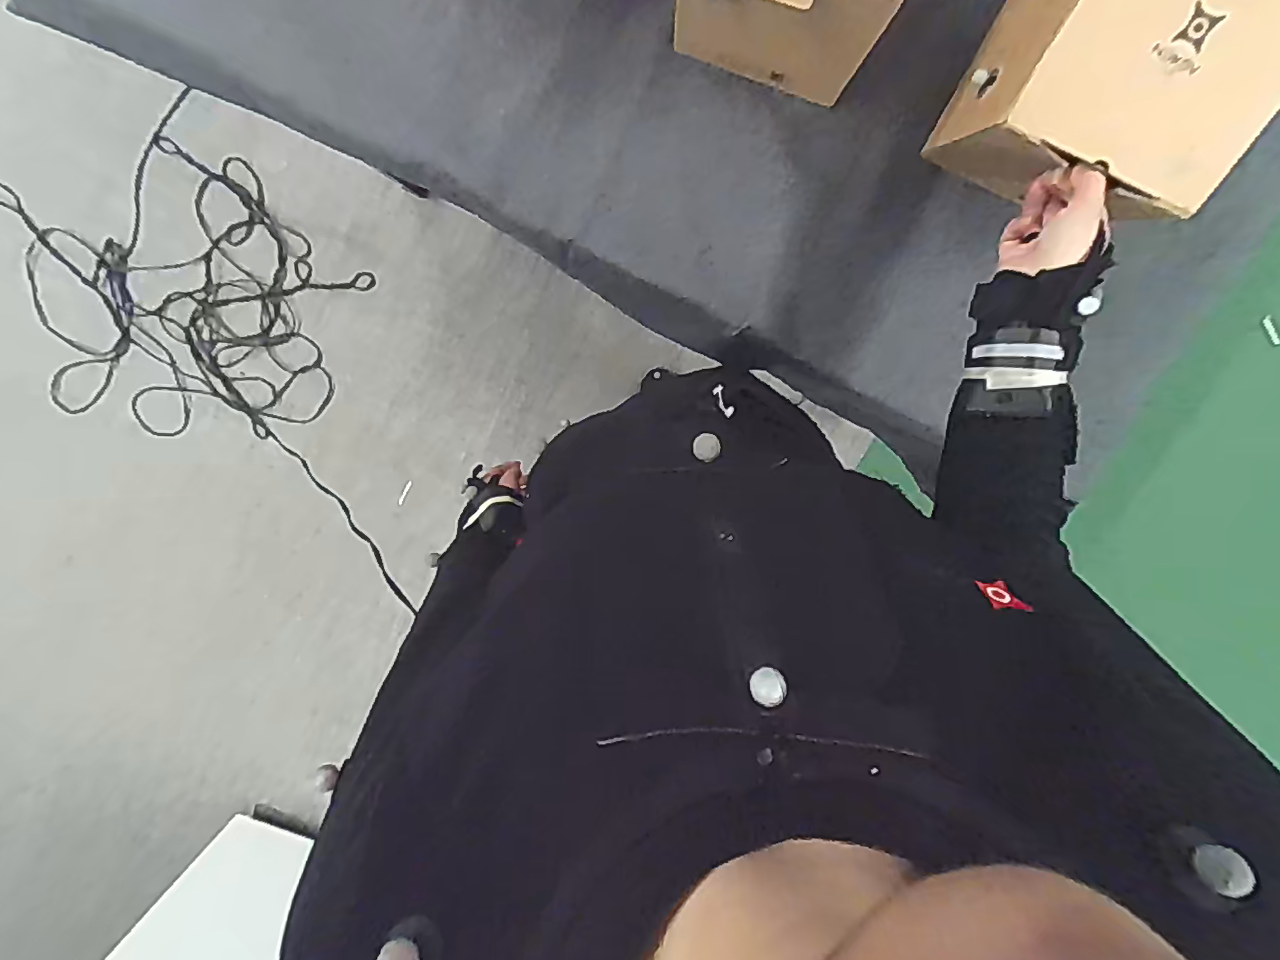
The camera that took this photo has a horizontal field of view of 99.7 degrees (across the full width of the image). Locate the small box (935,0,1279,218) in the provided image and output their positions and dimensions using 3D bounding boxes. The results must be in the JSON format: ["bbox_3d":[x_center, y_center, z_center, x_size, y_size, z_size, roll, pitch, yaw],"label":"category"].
[{"bbox_3d":[0.375,-0.330,0.437,0.168,0.176,0.179,22,114,-5],"label":"small box"}]
